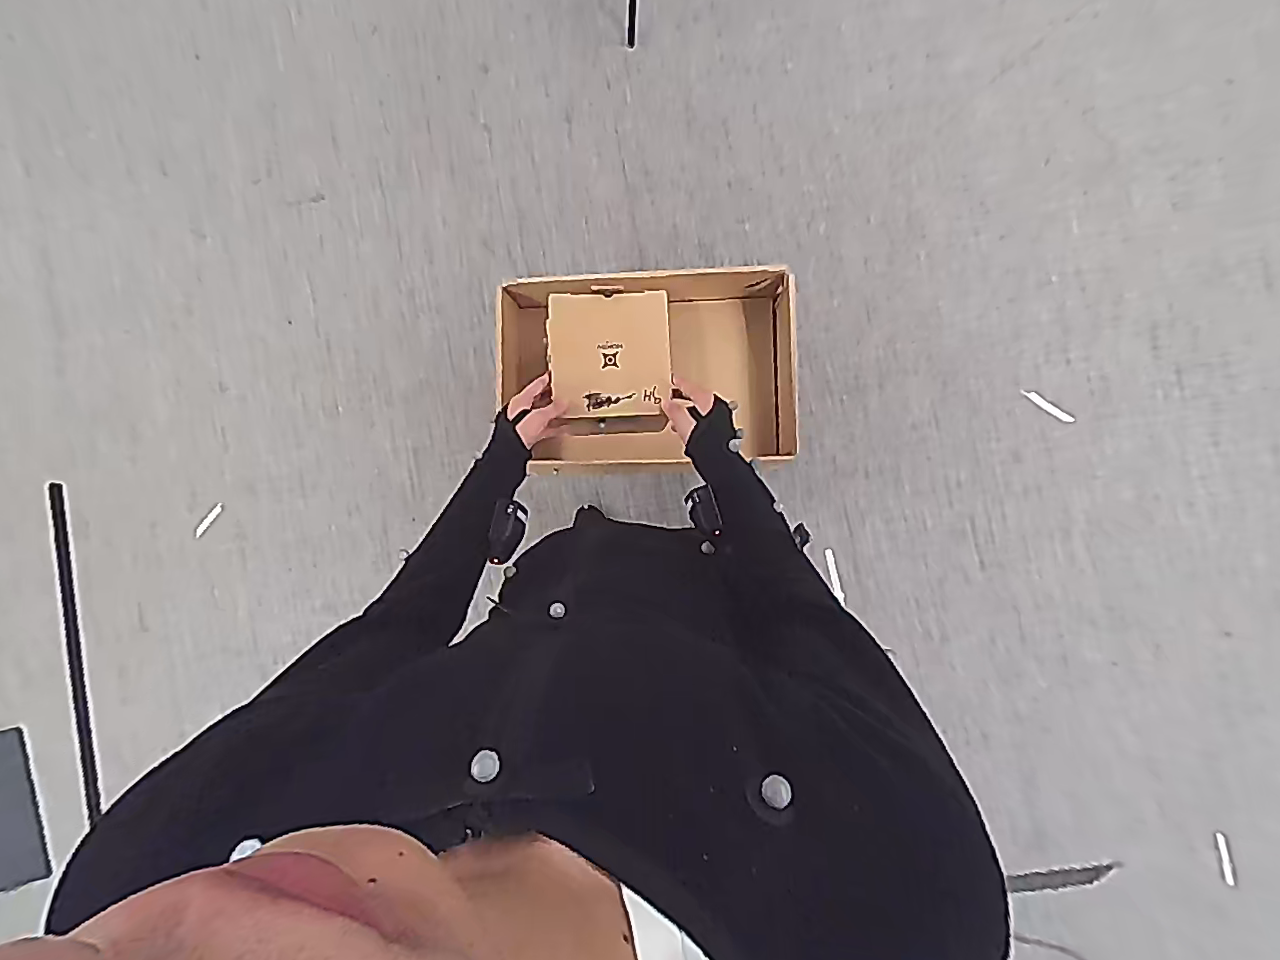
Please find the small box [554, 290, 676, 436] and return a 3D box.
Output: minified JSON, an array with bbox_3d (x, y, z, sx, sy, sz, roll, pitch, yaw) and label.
[{"bbox_3d":[-0.039,-0.168,0.815,0.168,0.176,0.179,-2,86,-2],"label":"small box"}]
